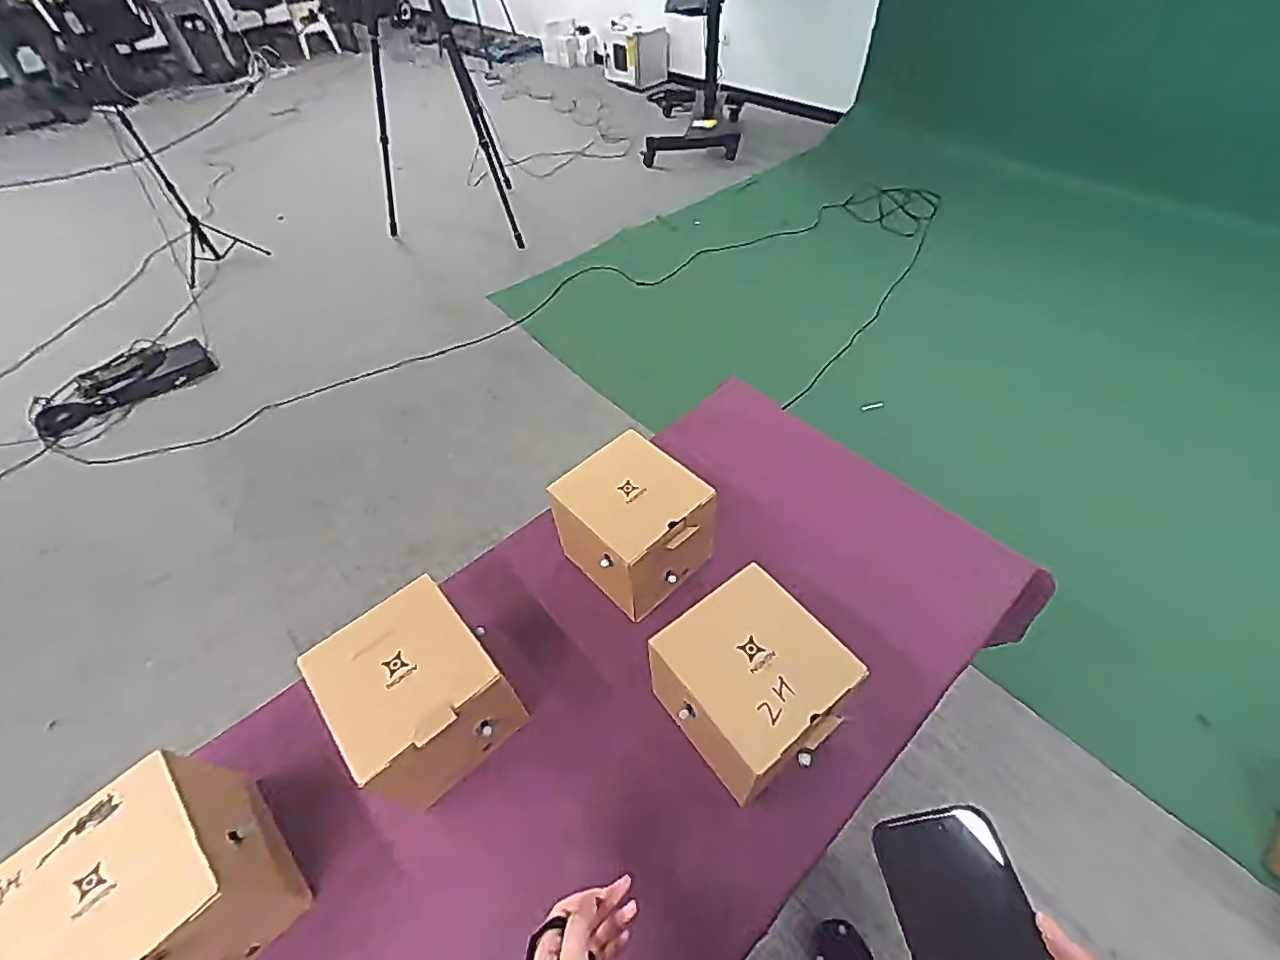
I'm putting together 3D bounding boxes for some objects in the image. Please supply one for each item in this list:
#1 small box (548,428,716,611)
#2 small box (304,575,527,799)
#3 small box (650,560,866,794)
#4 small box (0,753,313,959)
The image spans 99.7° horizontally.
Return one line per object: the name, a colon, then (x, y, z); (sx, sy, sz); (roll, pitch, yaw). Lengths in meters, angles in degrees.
small box: (-0.009, 0.062, 0.805); (0.168, 0.176, 0.179); (-38, 59, -24)
small box: (-0.262, 0.258, 0.664); (0.168, 0.176, 0.179); (-35, 57, -24)
small box: (0.129, 0.237, 0.648); (0.168, 0.176, 0.179); (-32, 55, -20)
small box: (-0.477, 0.419, 0.547); (0.179, 0.176, 0.168); (35, 60, 27)
